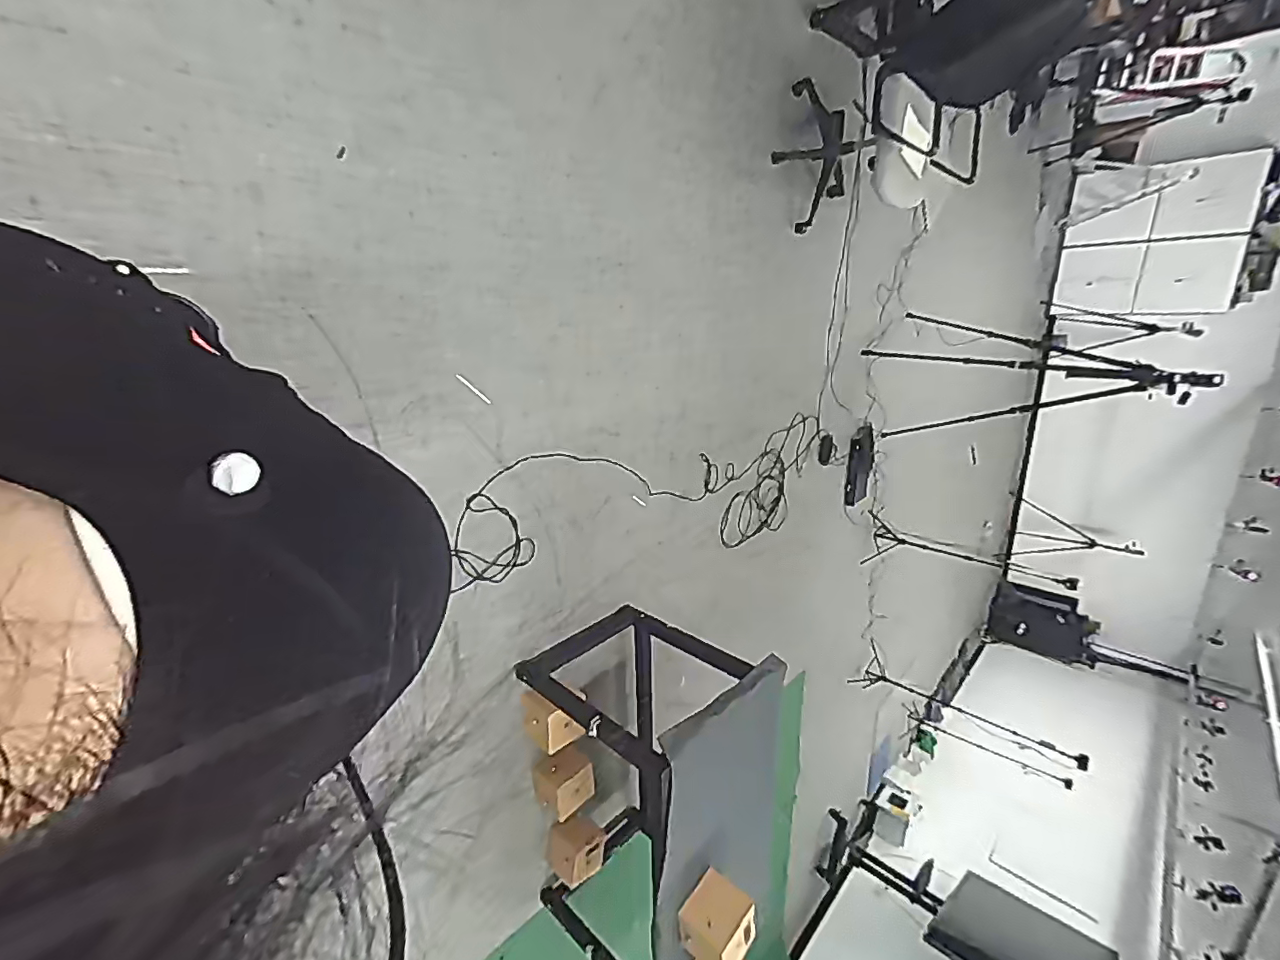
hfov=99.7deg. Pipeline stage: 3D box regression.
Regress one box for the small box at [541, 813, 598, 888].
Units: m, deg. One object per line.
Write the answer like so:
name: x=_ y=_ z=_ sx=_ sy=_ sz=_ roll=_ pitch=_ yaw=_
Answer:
small box: x=-0.299 y=1.541 z=2.269 sx=0.168 sy=0.176 sz=0.179 roll=-1 pitch=102 yaw=-47

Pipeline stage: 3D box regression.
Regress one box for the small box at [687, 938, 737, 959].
small box: x=0.233 y=1.690 z=1.791 sx=0.179 sy=0.176 sz=0.168 roll=11 pitch=93 yaw=-51

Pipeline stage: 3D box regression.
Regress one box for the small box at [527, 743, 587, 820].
small box: x=-0.333 y=1.178 z=2.134 sx=0.179 sy=0.176 sz=0.168 roll=-22 pitch=116 yaw=-43

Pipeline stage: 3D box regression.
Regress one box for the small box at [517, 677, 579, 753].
small box: x=-0.350 y=0.876 z=2.034 sx=0.179 sy=0.176 sz=0.168 roll=-13 pitch=110 yaw=-45
